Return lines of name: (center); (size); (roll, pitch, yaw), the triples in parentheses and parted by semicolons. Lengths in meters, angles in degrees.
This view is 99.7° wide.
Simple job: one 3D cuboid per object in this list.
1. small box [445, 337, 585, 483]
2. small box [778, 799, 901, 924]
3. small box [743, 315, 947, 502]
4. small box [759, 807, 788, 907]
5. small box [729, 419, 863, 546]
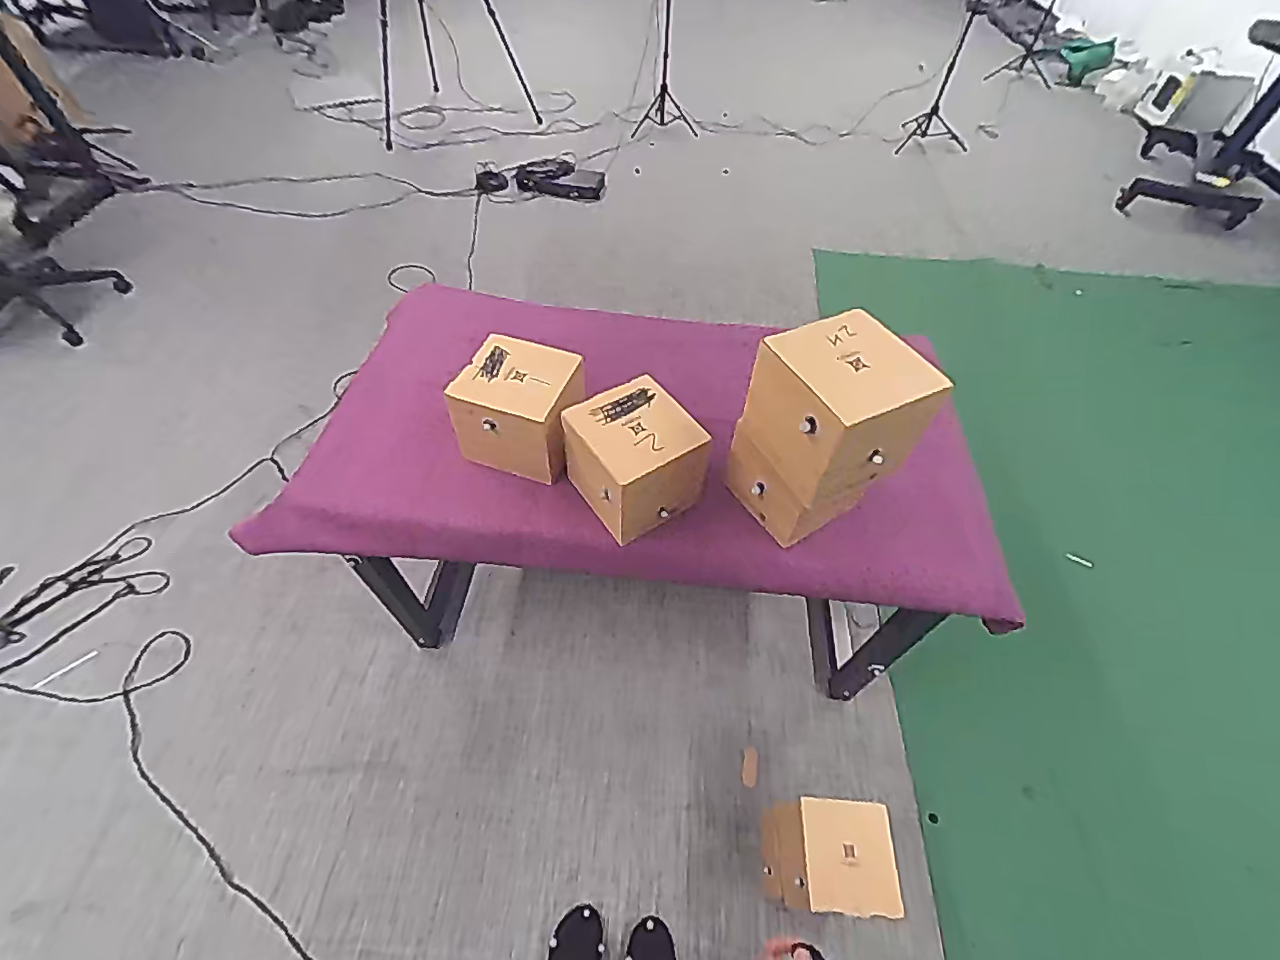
small box: (-0.207, -0.118, 0.950); (0.179, 0.176, 0.168); (17, 54, 9)
small box: (0.369, 0.731, 1.040); (0.168, 0.176, 0.179); (5, 54, 1)
small box: (0.263, -0.091, 0.740); (0.168, 0.176, 0.179); (-20, 54, -17)
small box: (0.358, 0.826, 1.170); (0.179, 0.176, 0.168); (7, 53, 2)
small box: (0.263, -0.020, 0.894); (0.179, 0.176, 0.168); (-27, 57, -20)
